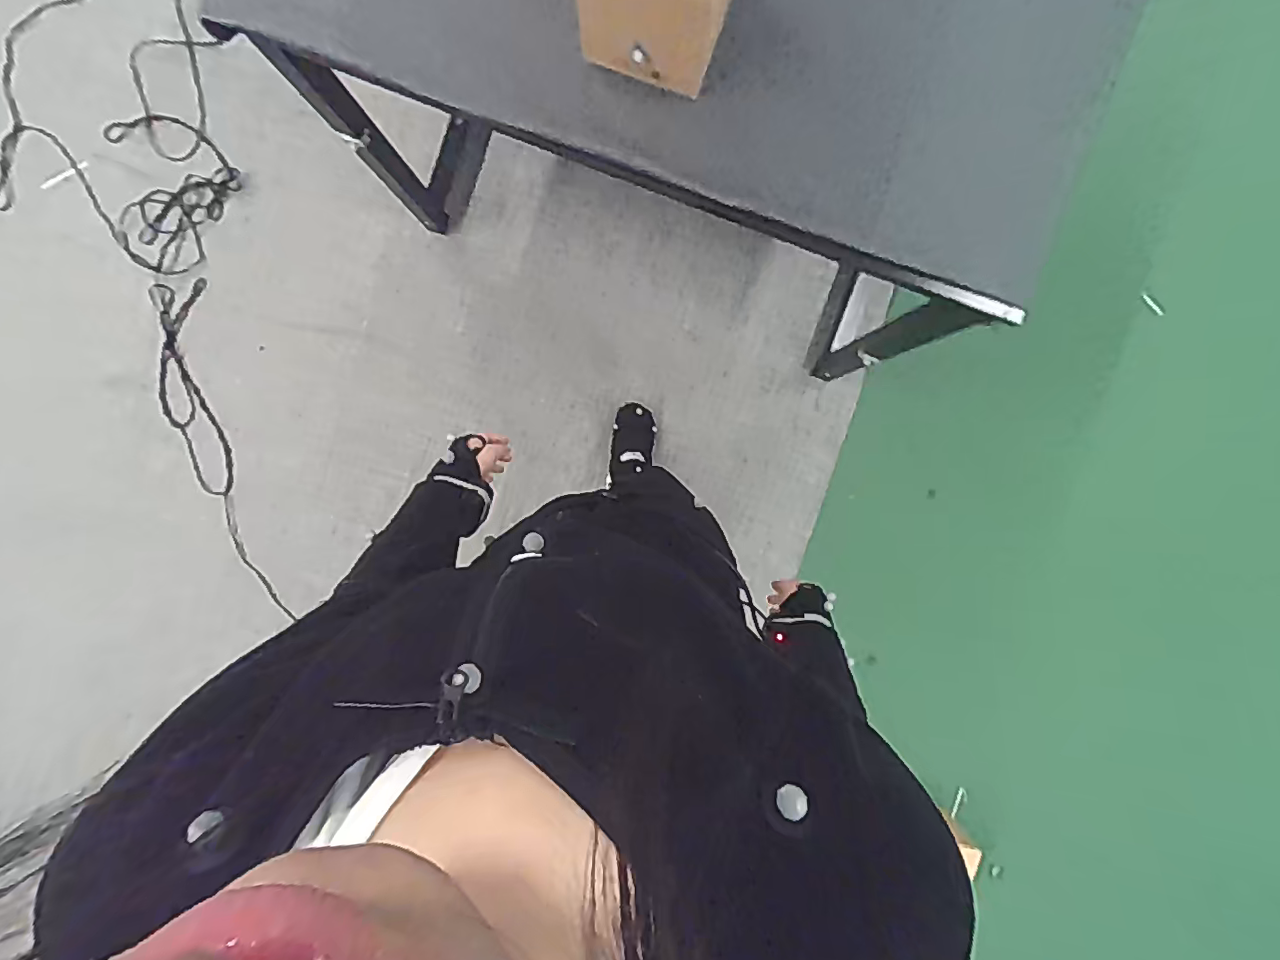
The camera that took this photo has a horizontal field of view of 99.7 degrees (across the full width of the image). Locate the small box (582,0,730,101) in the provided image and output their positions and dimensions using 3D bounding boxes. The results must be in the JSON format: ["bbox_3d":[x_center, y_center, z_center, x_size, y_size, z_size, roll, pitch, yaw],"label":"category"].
[{"bbox_3d":[0.028,-0.623,0.662,0.168,0.176,0.179,19,92,-2],"label":"small box"}]
